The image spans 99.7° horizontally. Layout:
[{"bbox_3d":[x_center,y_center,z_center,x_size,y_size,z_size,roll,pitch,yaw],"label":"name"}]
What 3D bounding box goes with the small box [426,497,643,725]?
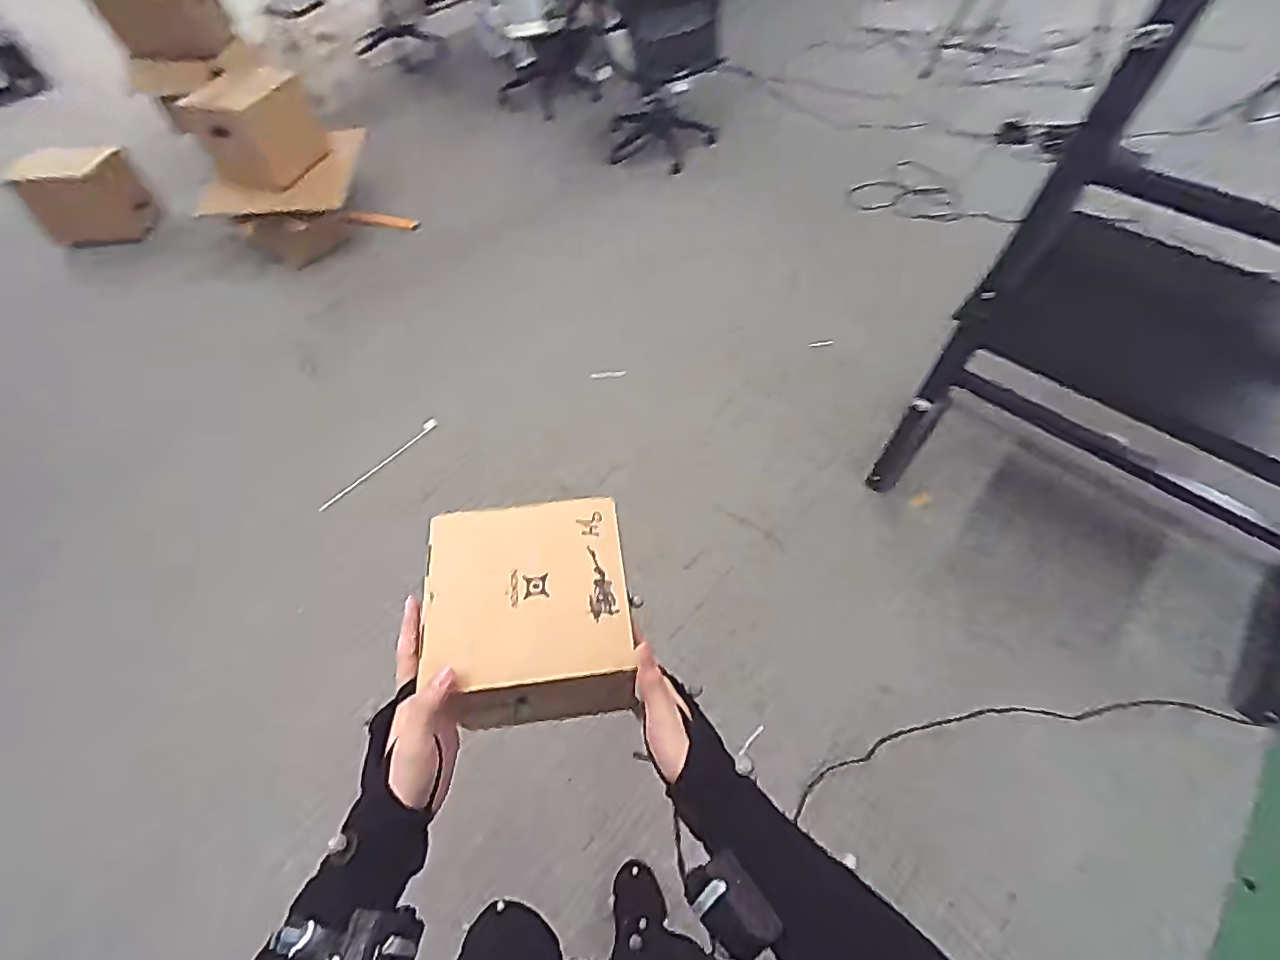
[{"bbox_3d":[-0.092,0.137,0.541,0.179,0.176,0.168,-6,57,-4],"label":"small box"}]
